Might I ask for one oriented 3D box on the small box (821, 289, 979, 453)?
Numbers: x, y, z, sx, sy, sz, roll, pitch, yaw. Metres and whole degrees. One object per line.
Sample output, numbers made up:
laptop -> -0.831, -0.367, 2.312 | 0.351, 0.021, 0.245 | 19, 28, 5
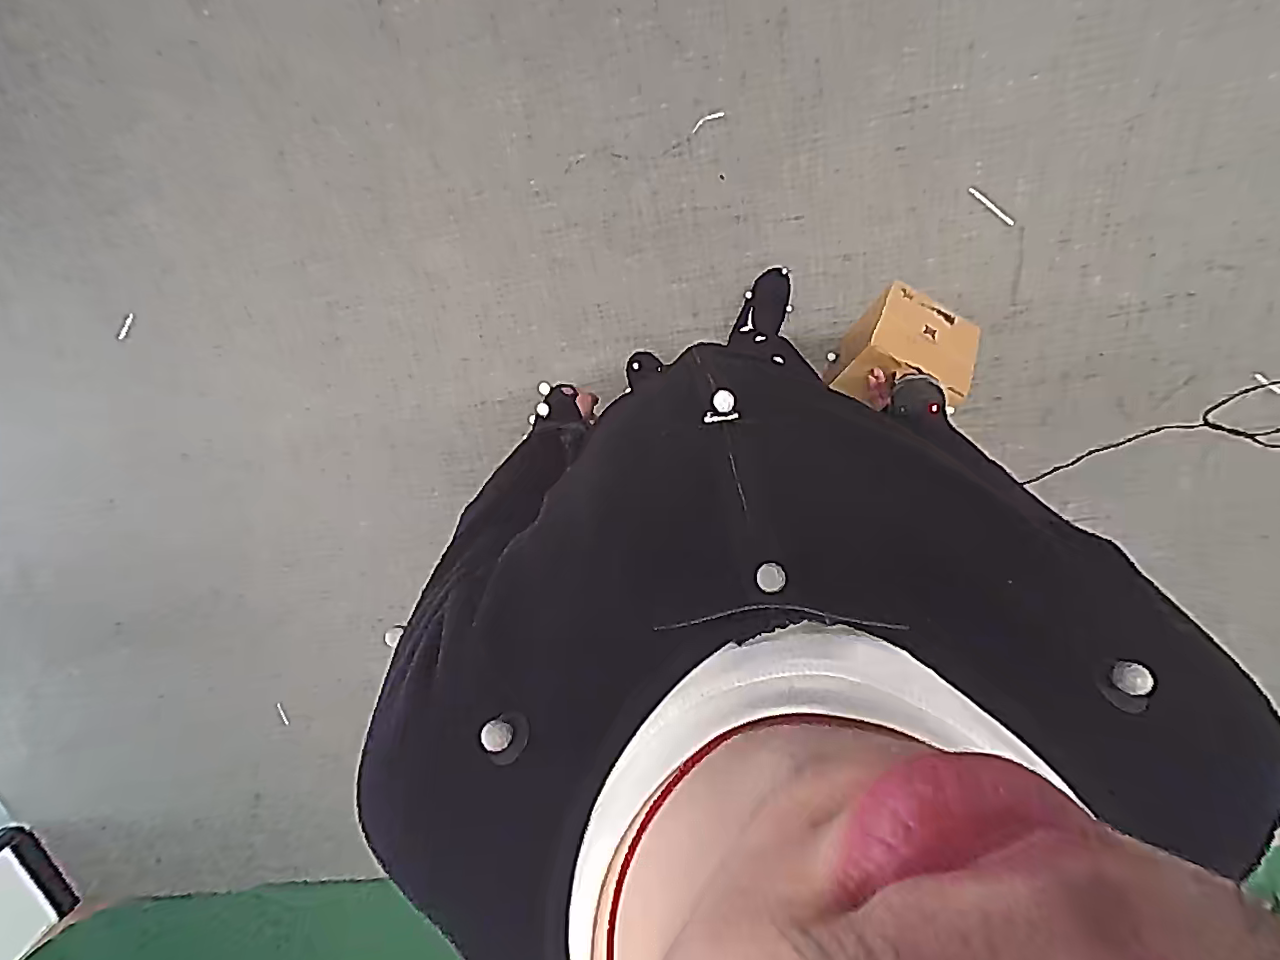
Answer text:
small box -> 0.428, -0.175, 0.909 | 0.168, 0.179, 0.176 | 27, 149, 2
